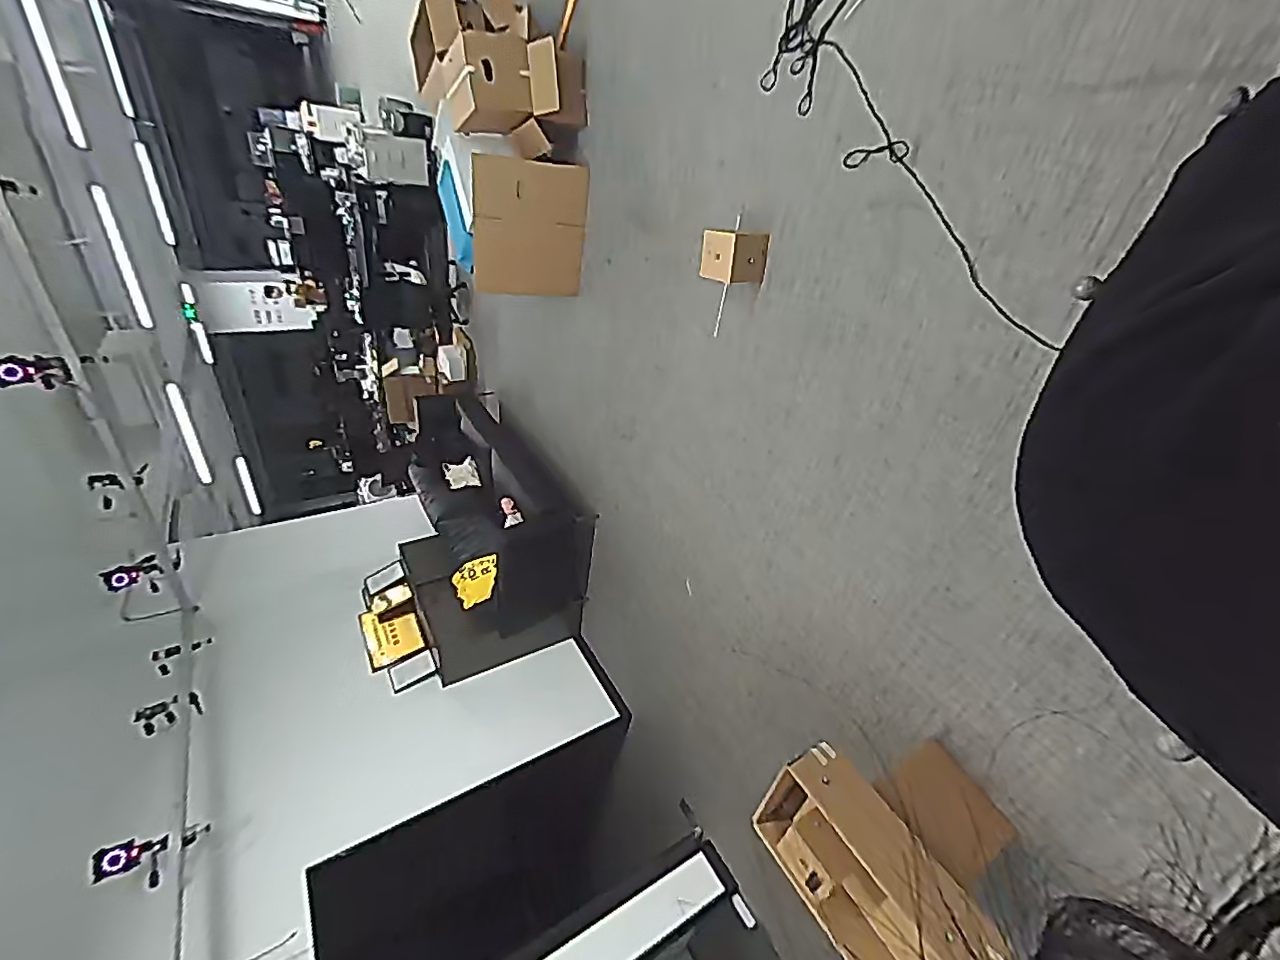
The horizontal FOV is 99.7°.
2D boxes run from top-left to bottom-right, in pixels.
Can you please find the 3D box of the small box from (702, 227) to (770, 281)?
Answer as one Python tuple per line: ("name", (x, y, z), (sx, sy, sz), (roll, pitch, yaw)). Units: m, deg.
("small box", (0.358, -0.842, 2.007), (0.179, 0.176, 0.168), (39, 134, 47))
